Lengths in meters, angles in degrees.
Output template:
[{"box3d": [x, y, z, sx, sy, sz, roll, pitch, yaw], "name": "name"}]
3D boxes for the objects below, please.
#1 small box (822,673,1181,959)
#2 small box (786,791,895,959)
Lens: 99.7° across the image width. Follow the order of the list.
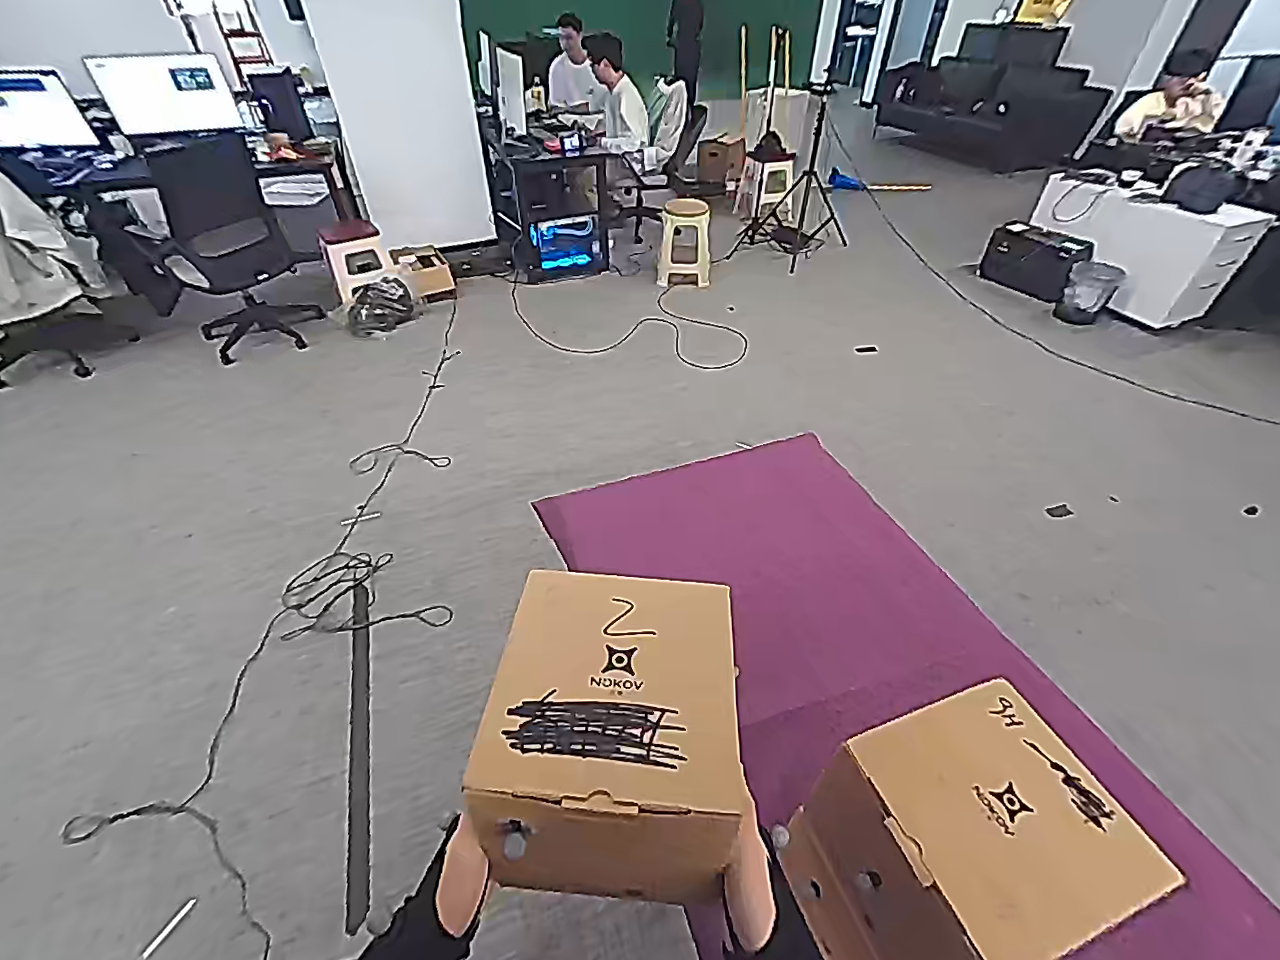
[{"box3d": [0.281, 0.307, 0.473, 0.179, 0.176, 0.168, -14, 45, -14], "name": "small box"}, {"box3d": [0.276, 0.427, 0.584, 0.179, 0.176, 0.168, -14, 45, -15], "name": "small box"}]
